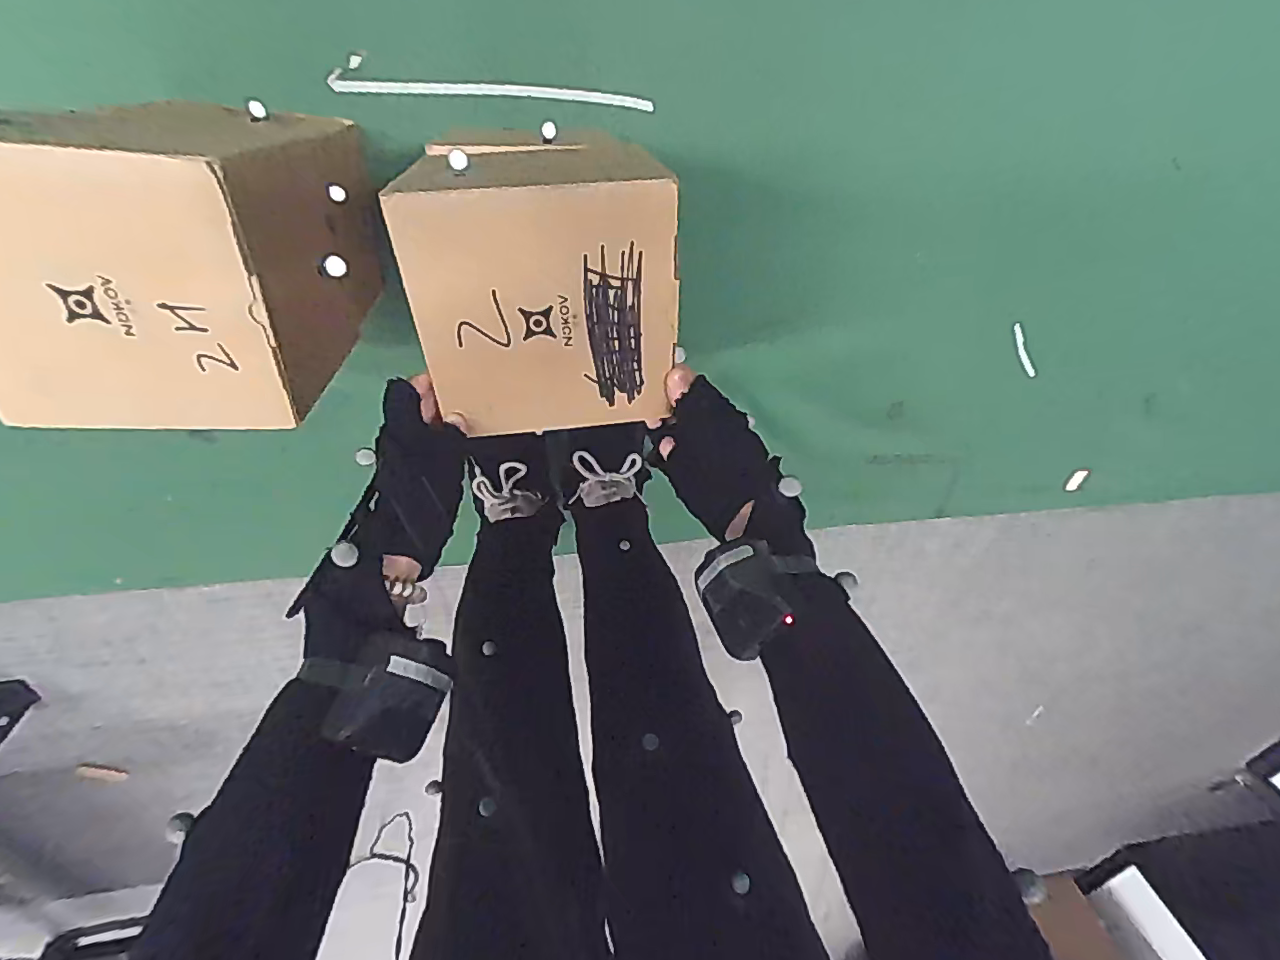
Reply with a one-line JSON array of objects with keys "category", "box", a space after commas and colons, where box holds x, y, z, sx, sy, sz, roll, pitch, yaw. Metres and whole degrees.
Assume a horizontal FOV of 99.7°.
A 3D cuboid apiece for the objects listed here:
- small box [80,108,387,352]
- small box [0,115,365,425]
[{"category": "small box", "box": [-0.358, -0.242, 0.523, 0.168, 0.176, 0.179, 1, 125, -11]}, {"category": "small box", "box": [-0.324, -0.153, 0.387, 0.179, 0.176, 0.168, 0, 125, -11]}]
